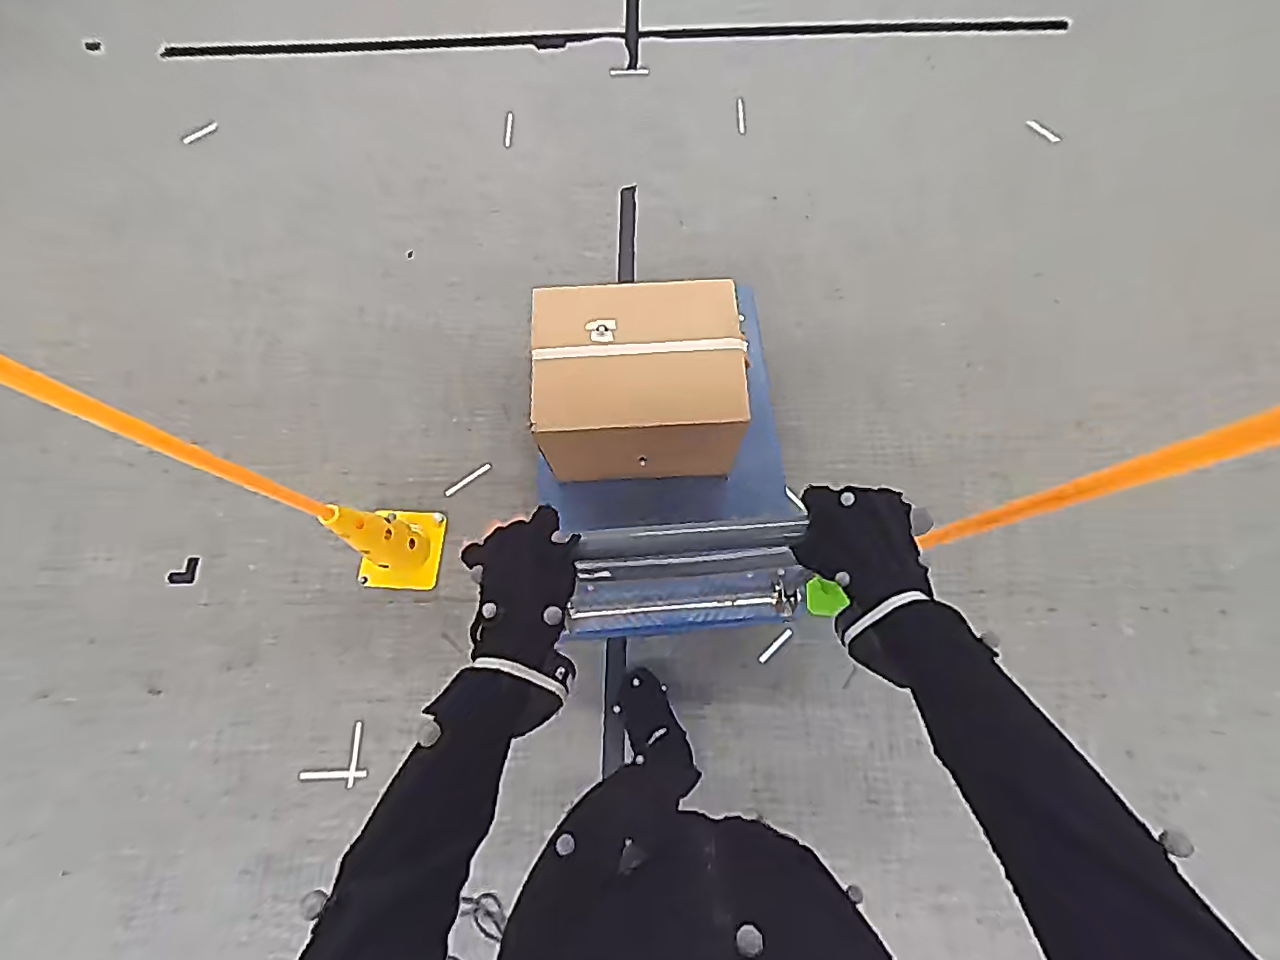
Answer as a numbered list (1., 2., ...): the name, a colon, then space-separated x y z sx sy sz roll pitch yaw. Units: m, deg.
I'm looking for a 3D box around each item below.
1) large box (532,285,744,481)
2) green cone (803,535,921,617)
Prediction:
1. large box: -0.006 -0.193 1.191 0.408 0.320 0.320 -3 72 1
2. green cone: 0.515 0.186 1.204 0.202 0.368 0.200 4 72 1
